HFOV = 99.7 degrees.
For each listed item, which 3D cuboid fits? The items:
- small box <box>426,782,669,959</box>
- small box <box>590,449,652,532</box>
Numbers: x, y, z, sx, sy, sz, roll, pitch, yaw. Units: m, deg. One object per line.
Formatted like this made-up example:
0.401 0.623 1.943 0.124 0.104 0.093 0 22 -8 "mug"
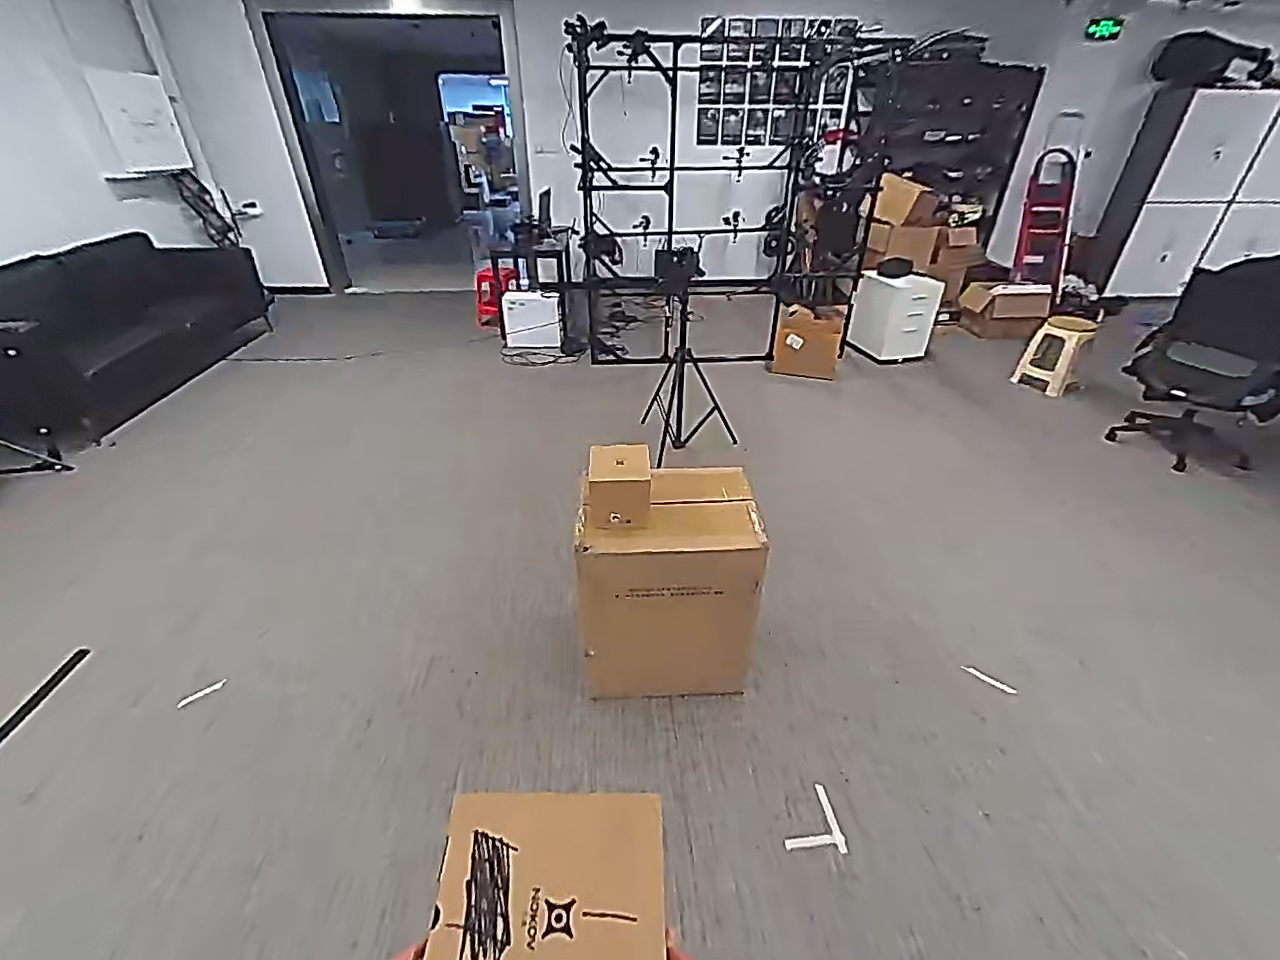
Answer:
-0.067 0.377 0.461 0.179 0.176 0.168 0 43 -2 "small box"
-0.054 0.028 1.521 0.168 0.176 0.179 -2 36 -2 "small box"
